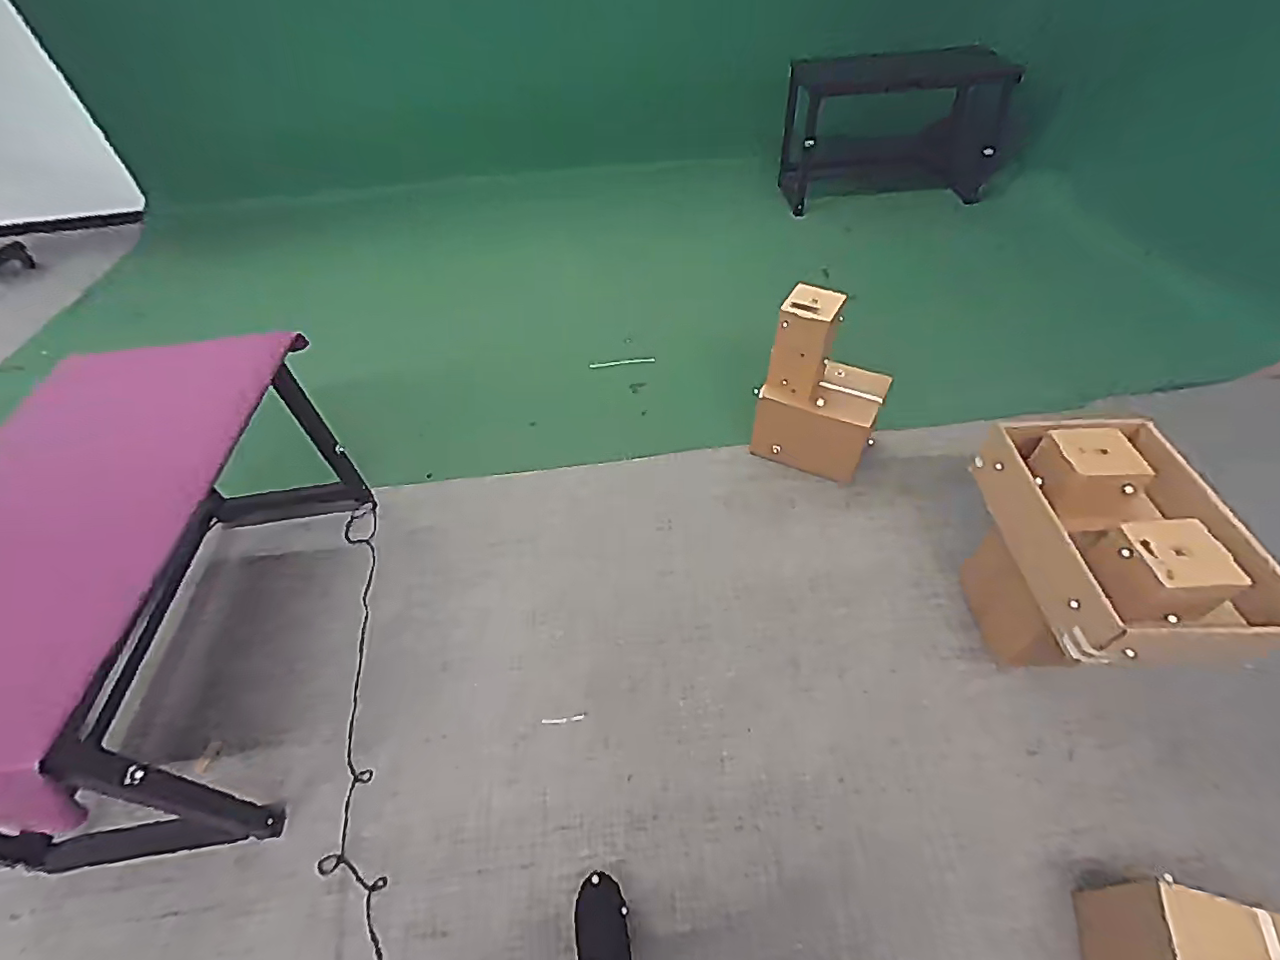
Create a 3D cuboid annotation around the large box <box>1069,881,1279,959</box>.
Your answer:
[{"bbox_3d":[1.060,1.030,0.974,0.320,0.320,0.408,12,50,13],"label":"large box"}]

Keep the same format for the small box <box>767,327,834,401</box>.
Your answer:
[{"bbox_3d":[0.571,-0.416,1.941,0.168,0.176,0.179,24,56,21],"label":"small box"}]
